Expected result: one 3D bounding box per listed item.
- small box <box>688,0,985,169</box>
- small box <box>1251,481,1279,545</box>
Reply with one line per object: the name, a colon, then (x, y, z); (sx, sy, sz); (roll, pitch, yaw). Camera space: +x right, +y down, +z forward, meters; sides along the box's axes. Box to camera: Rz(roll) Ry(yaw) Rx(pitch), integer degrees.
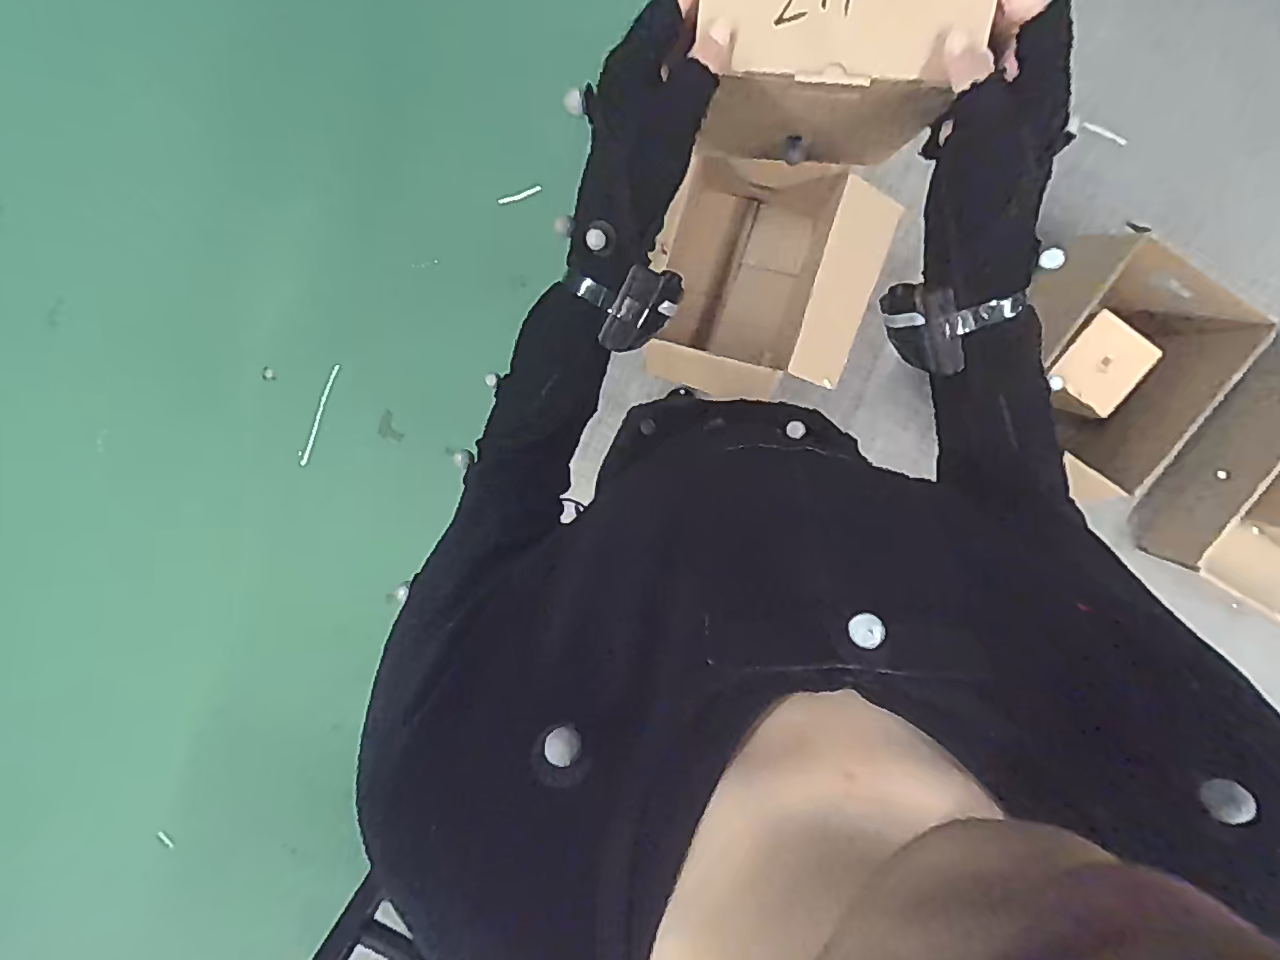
small box: (0.123, -0.340, 0.372); (0.168, 0.176, 0.179); (6, 106, 4)
small box: (1.571, 0.088, 1.222); (0.168, 0.176, 0.179); (32, 99, -1)
